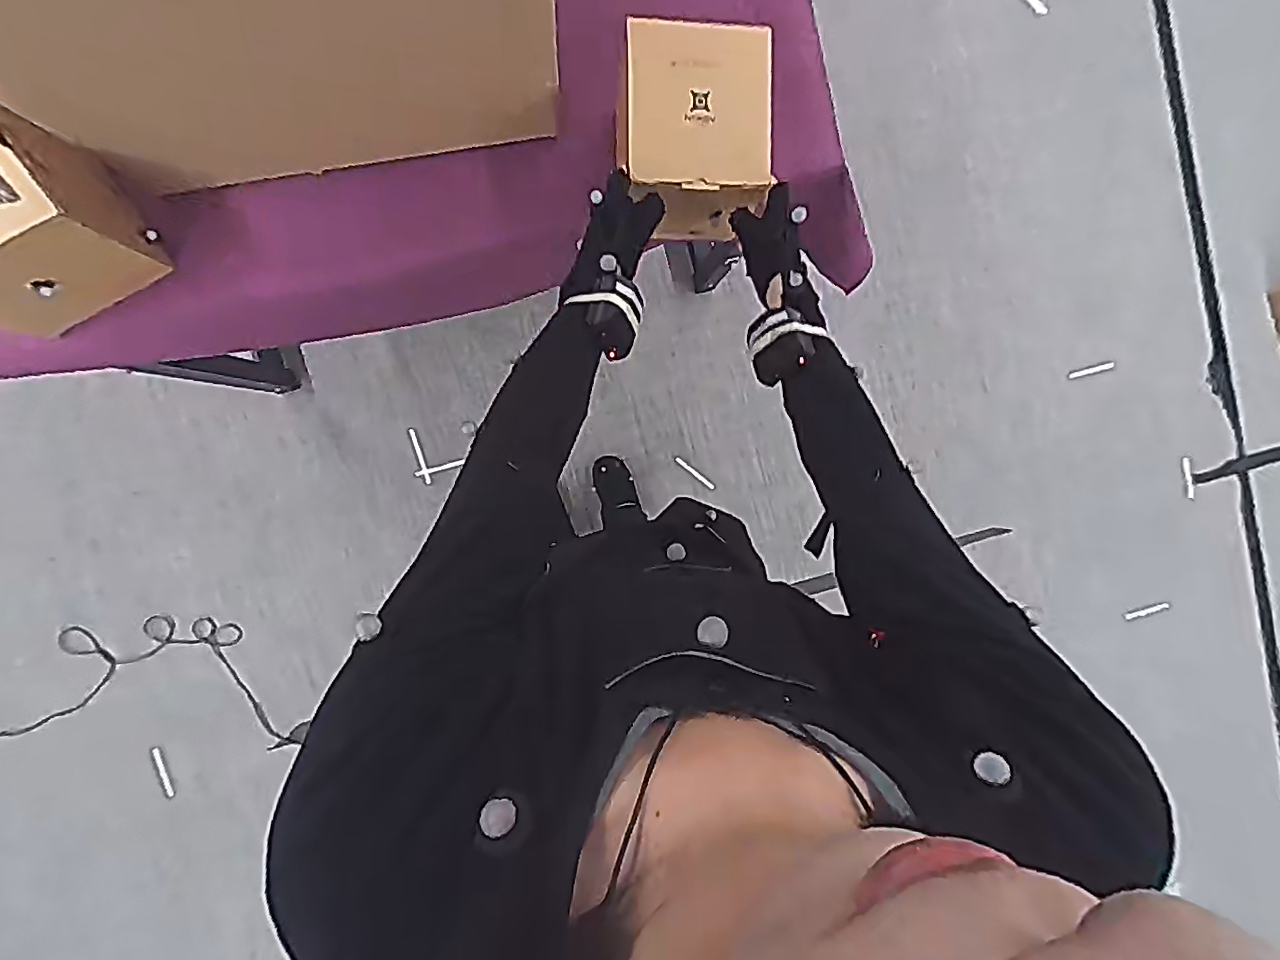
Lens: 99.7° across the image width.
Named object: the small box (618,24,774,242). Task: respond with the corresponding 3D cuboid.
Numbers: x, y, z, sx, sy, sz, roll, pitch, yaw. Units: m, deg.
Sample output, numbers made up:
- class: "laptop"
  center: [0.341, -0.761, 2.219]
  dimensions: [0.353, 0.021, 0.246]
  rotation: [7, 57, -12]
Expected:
- class: "small box"
  center: [0.062, -0.419, 0.684]
  dimensions: [0.168, 0.176, 0.179]
  rotation: [-1, 92, -7]
